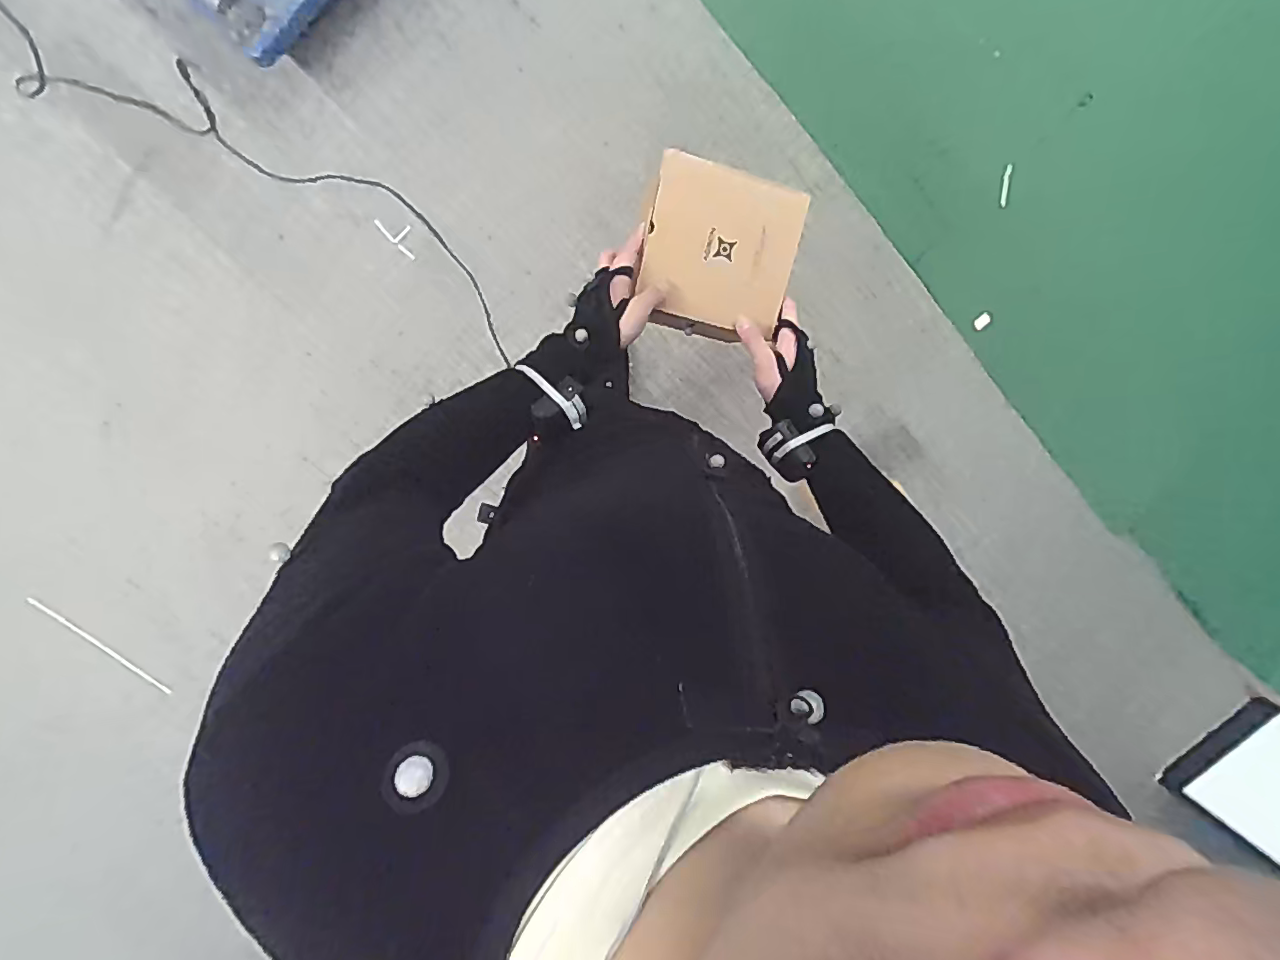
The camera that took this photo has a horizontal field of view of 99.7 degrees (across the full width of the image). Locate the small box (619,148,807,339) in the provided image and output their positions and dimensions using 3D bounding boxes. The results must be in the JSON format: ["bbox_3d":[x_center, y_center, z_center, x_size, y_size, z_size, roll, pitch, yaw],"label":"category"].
[{"bbox_3d":[0.077,-0.279,0.685,0.179,0.176,0.168,11,101,-10],"label":"small box"}]

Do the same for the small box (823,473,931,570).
[{"bbox_3d":[0.632,0.105,1.463,0.168,0.176,0.179,-39,102,5],"label":"small box"}]

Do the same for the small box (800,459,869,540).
[{"bbox_3d":[0.614,0.053,1.633,0.168,0.176,0.179,-39,103,6],"label":"small box"}]
